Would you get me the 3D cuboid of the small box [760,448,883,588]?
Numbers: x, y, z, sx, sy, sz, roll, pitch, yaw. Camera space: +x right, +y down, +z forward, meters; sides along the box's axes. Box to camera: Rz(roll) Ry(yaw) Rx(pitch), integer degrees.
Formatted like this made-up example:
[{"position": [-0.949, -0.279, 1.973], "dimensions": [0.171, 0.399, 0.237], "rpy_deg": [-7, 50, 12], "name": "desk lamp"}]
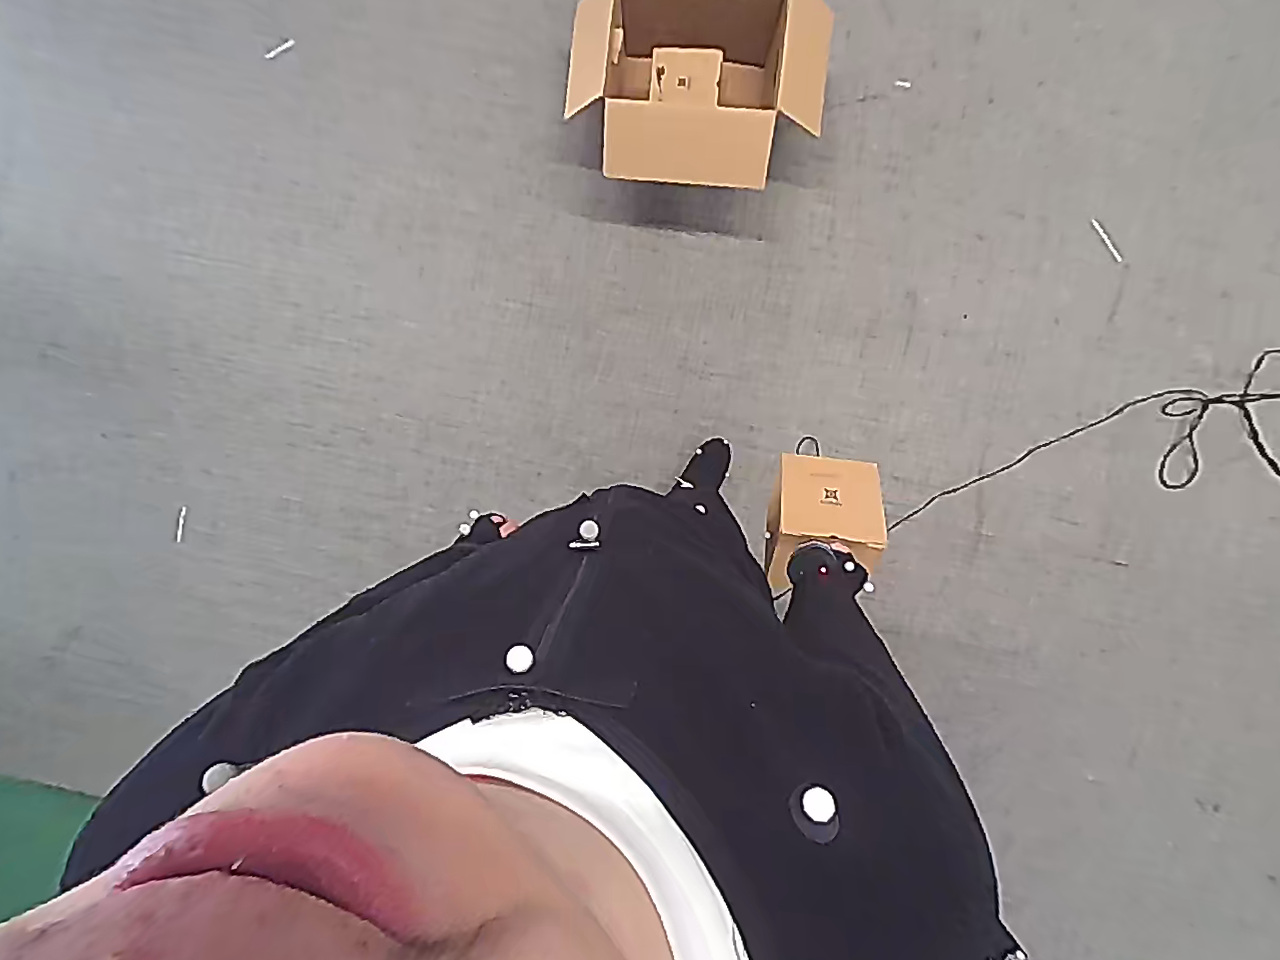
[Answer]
[{"position": [0.308, 0.070, 0.950], "dimensions": [0.168, 0.176, 0.179], "rpy_deg": [7, 49, 6], "name": "small box"}]
